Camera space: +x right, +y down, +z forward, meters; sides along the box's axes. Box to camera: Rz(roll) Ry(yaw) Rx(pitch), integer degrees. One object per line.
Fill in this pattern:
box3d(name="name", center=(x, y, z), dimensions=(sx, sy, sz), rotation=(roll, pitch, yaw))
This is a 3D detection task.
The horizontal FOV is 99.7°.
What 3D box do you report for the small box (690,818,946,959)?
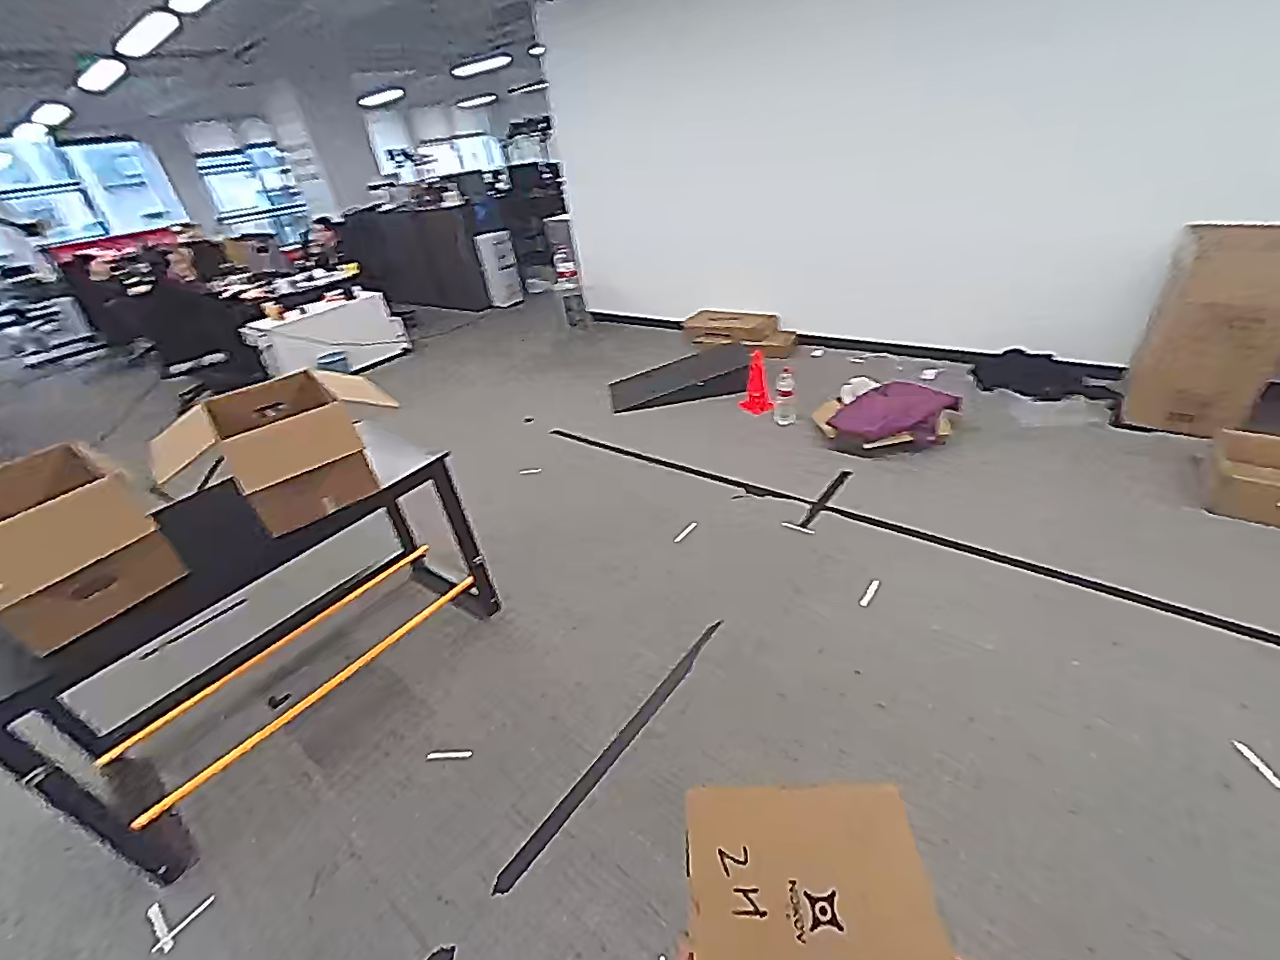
box3d(name="small box", center=(0.133, 0.393, 0.435), dimensions=(0.179, 0.176, 0.168), rotation=(-4, 39, 4))
